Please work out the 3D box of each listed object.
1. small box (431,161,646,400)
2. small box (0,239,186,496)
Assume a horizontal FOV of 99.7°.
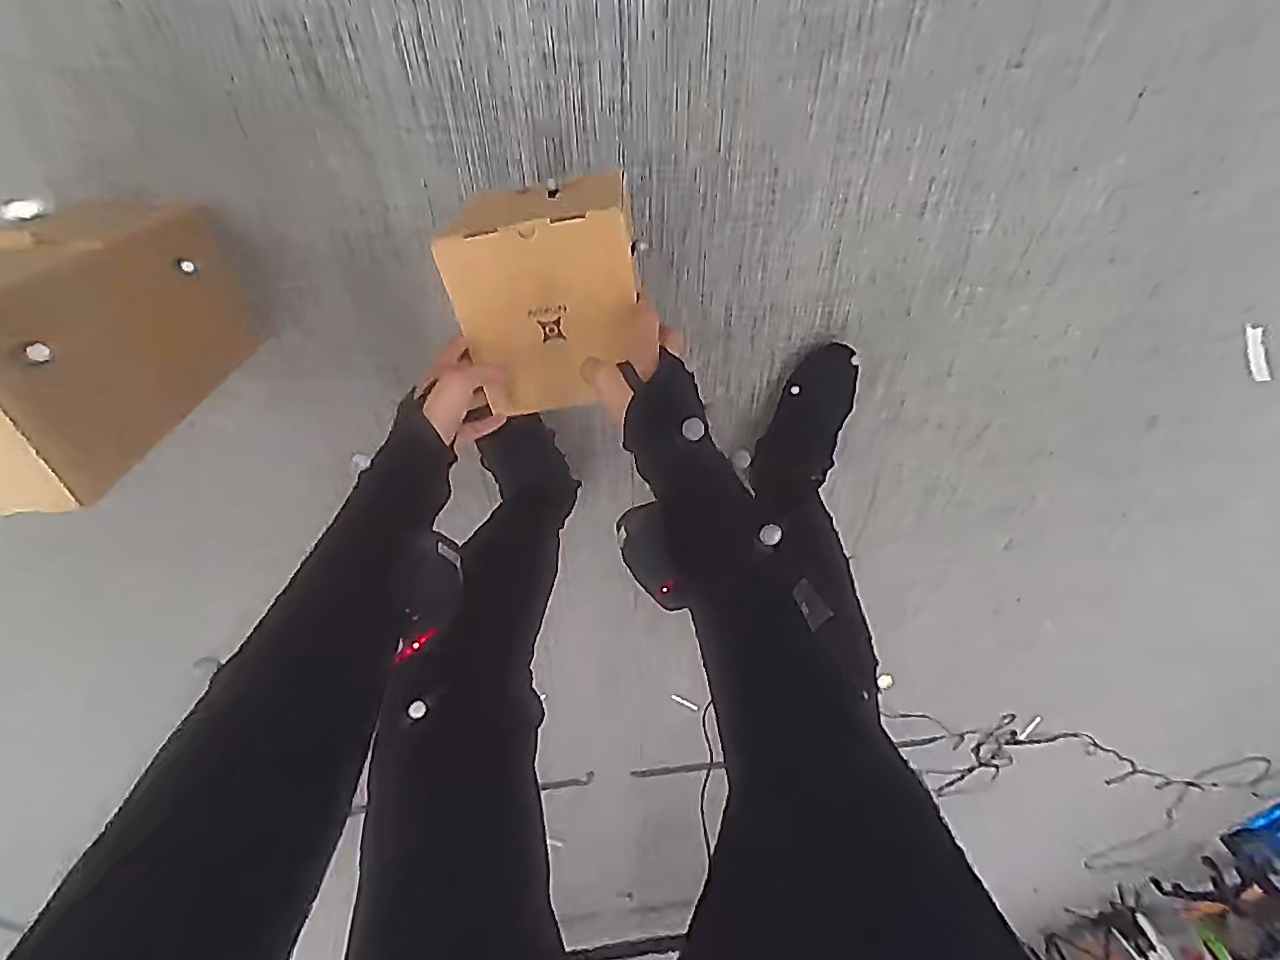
[{"bbox_3d":[-0.085,-0.207,0.559,0.168,0.176,0.179,-7,128,4],"label":"small box"},{"bbox_3d":[-0.560,-0.103,0.469,0.168,0.176,0.179,-2,129,-5],"label":"small box"}]
